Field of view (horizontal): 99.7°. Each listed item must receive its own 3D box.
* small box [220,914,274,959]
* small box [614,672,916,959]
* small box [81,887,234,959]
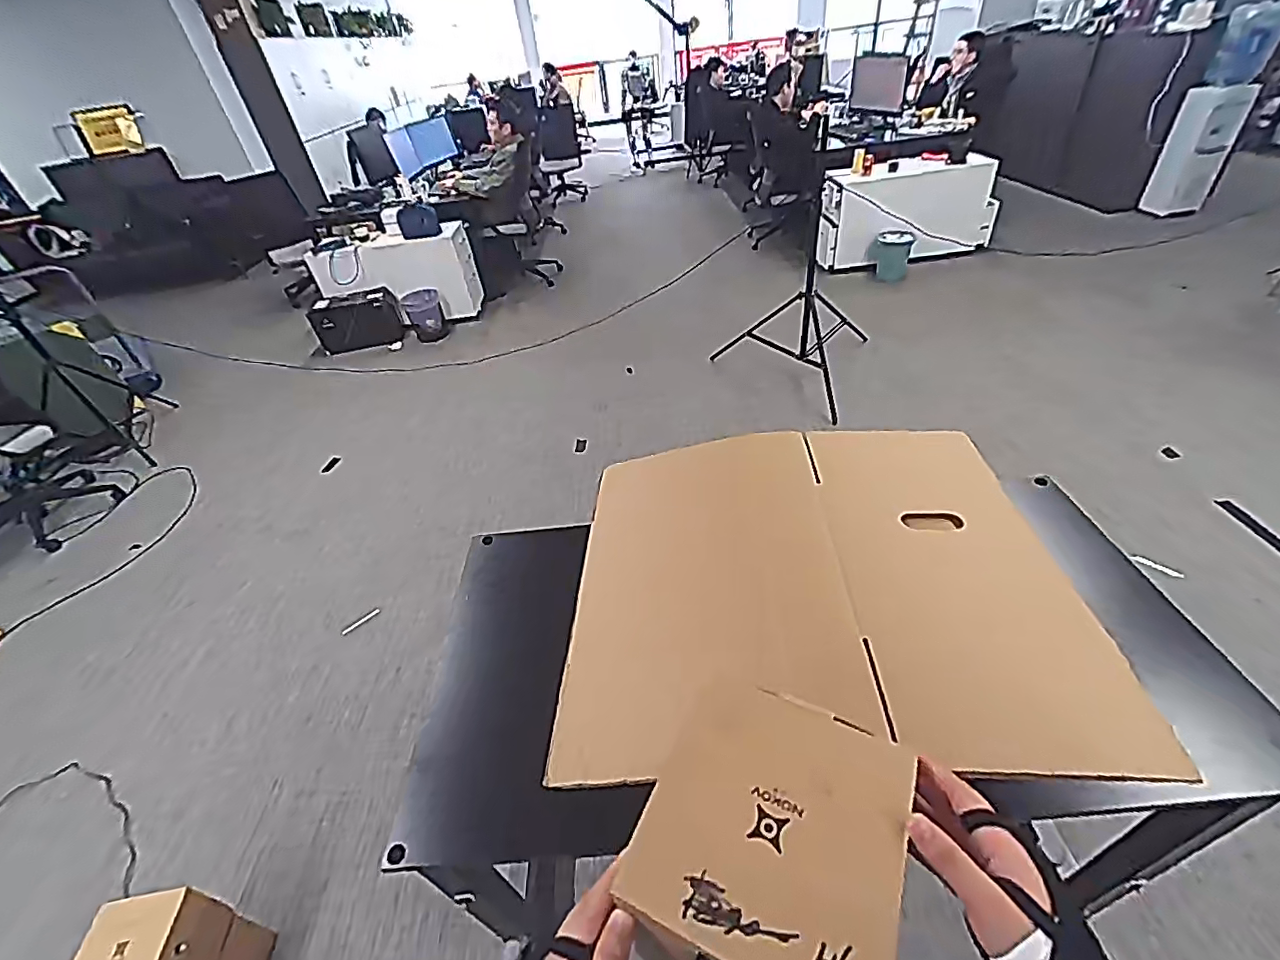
[{"bbox_3d":[-0.926,1.066,1.153,0.168,0.176,0.179,-9,40,0],"label":"small box"},{"bbox_3d":[0.099,0.294,0.419,0.168,0.176,0.179,13,41,26],"label":"small box"},{"bbox_3d":[-0.947,0.938,1.056,0.168,0.176,0.179,-10,38,-4],"label":"small box"}]
